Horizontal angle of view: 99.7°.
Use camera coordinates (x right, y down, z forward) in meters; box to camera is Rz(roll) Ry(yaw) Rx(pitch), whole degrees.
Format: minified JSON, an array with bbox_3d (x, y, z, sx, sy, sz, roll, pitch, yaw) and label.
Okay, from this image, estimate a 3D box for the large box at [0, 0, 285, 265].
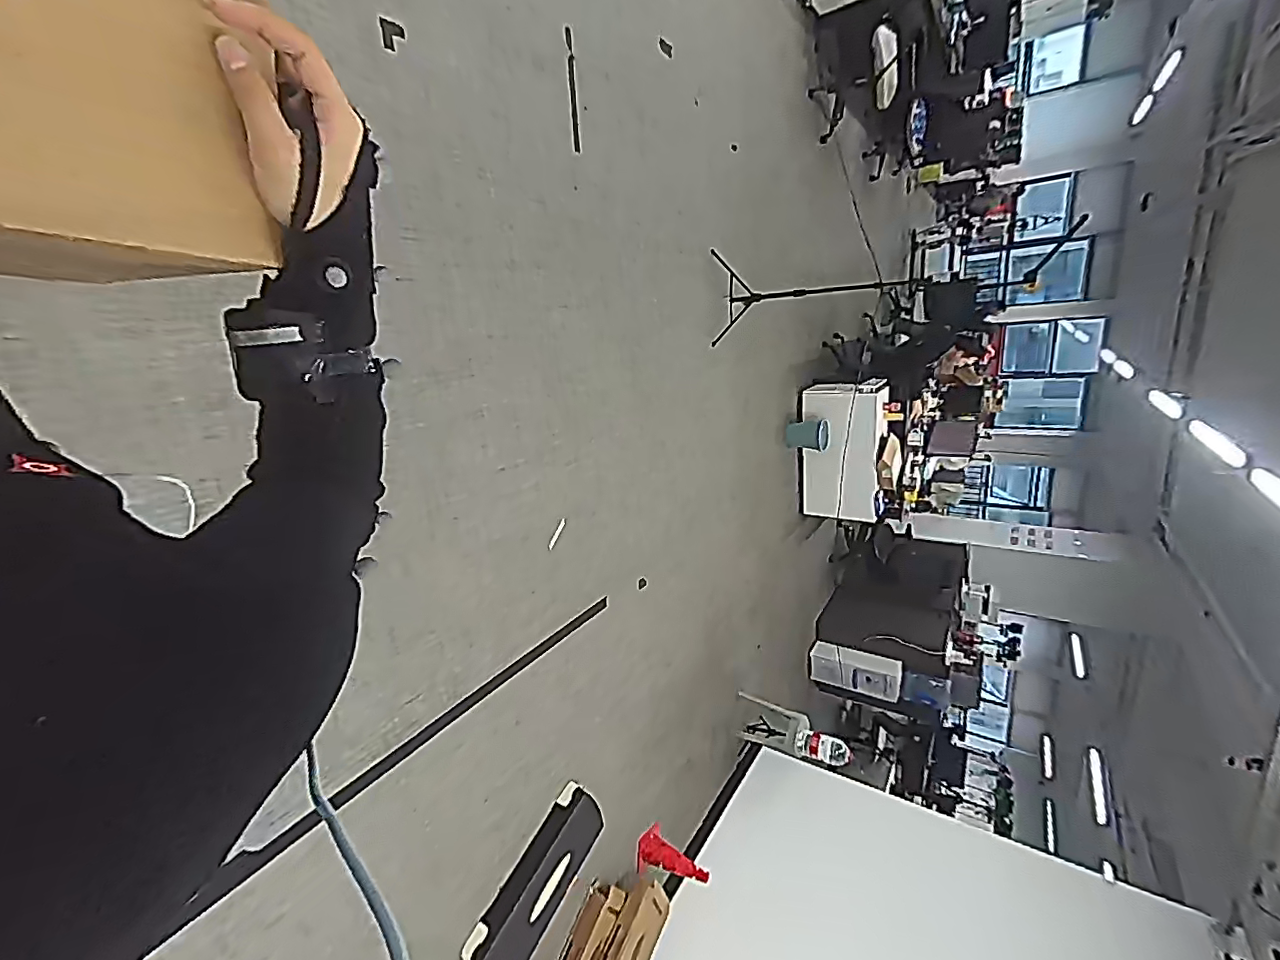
[{"bbox_3d":[-0.449,-0.280,0.213,0.408,0.320,0.320,-20,117,-59],"label":"large box"}]
